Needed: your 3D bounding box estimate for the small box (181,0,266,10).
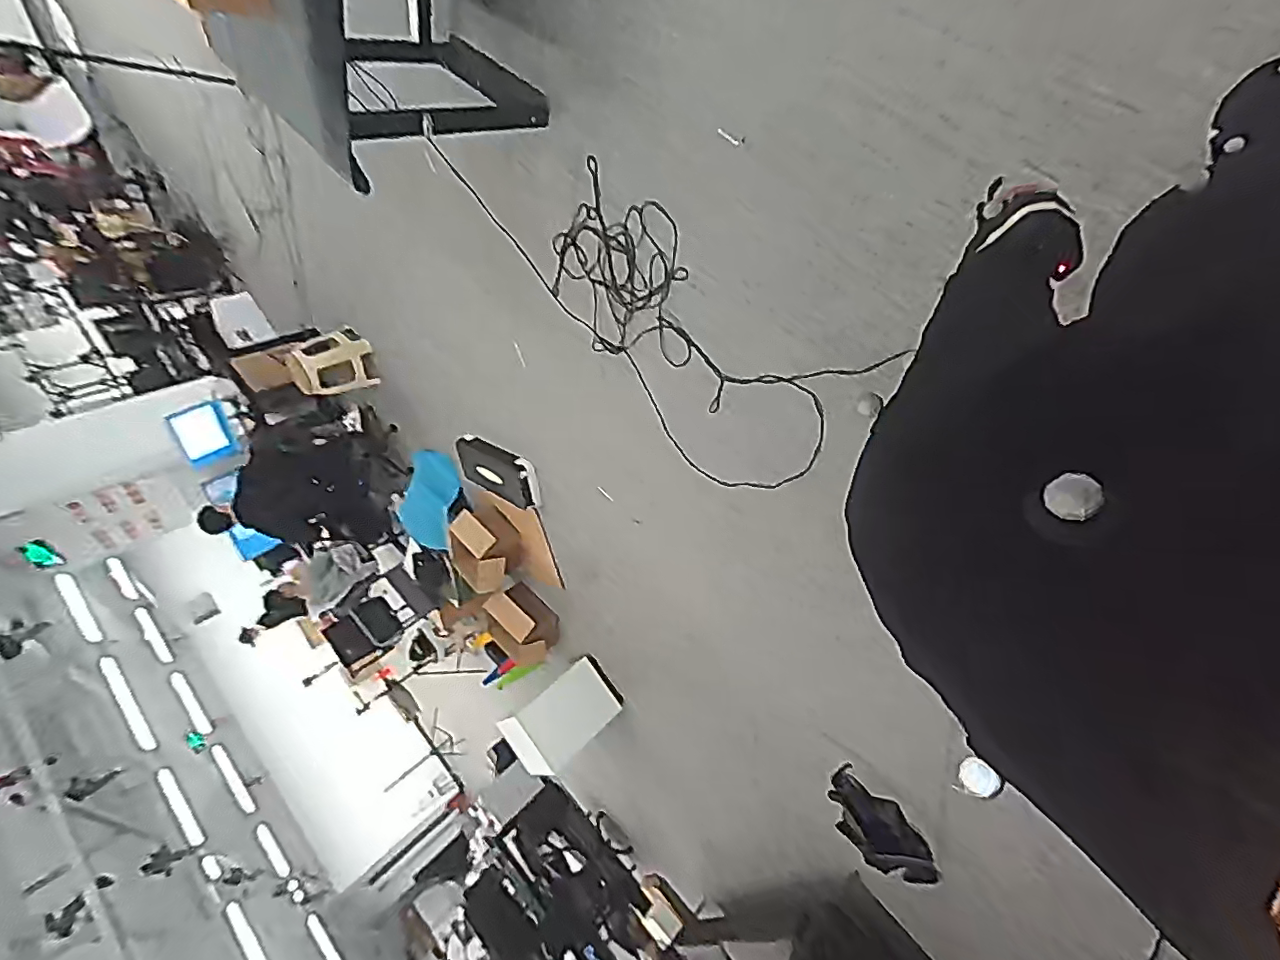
[{"bbox_3d":[-0.936,-1.136,1.157,0.179,0.176,0.168,40,139,24],"label":"small box"}]
